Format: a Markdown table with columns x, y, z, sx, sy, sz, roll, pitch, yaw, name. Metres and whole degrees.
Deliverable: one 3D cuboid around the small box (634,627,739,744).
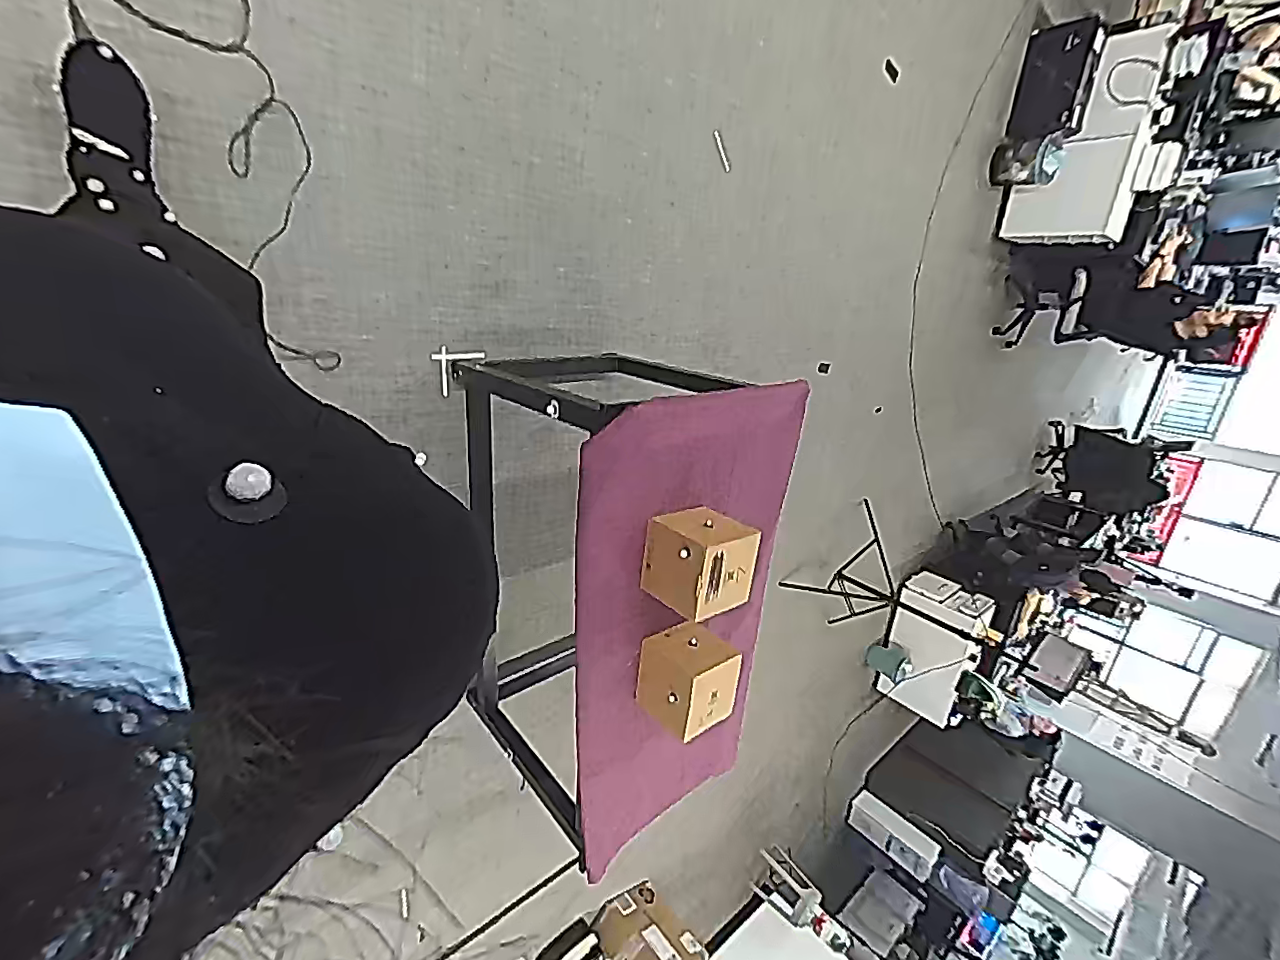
| x | y | z | sx | sy | sz | roll | pitch | yaw | name |
| --- | --- | --- | --- | --- | --- | --- | --- | --- | --- |
| 0.104 | 0.464 | 1.262 | 0.168 | 0.176 | 0.179 | -8 | 113 | -40 | small box |
